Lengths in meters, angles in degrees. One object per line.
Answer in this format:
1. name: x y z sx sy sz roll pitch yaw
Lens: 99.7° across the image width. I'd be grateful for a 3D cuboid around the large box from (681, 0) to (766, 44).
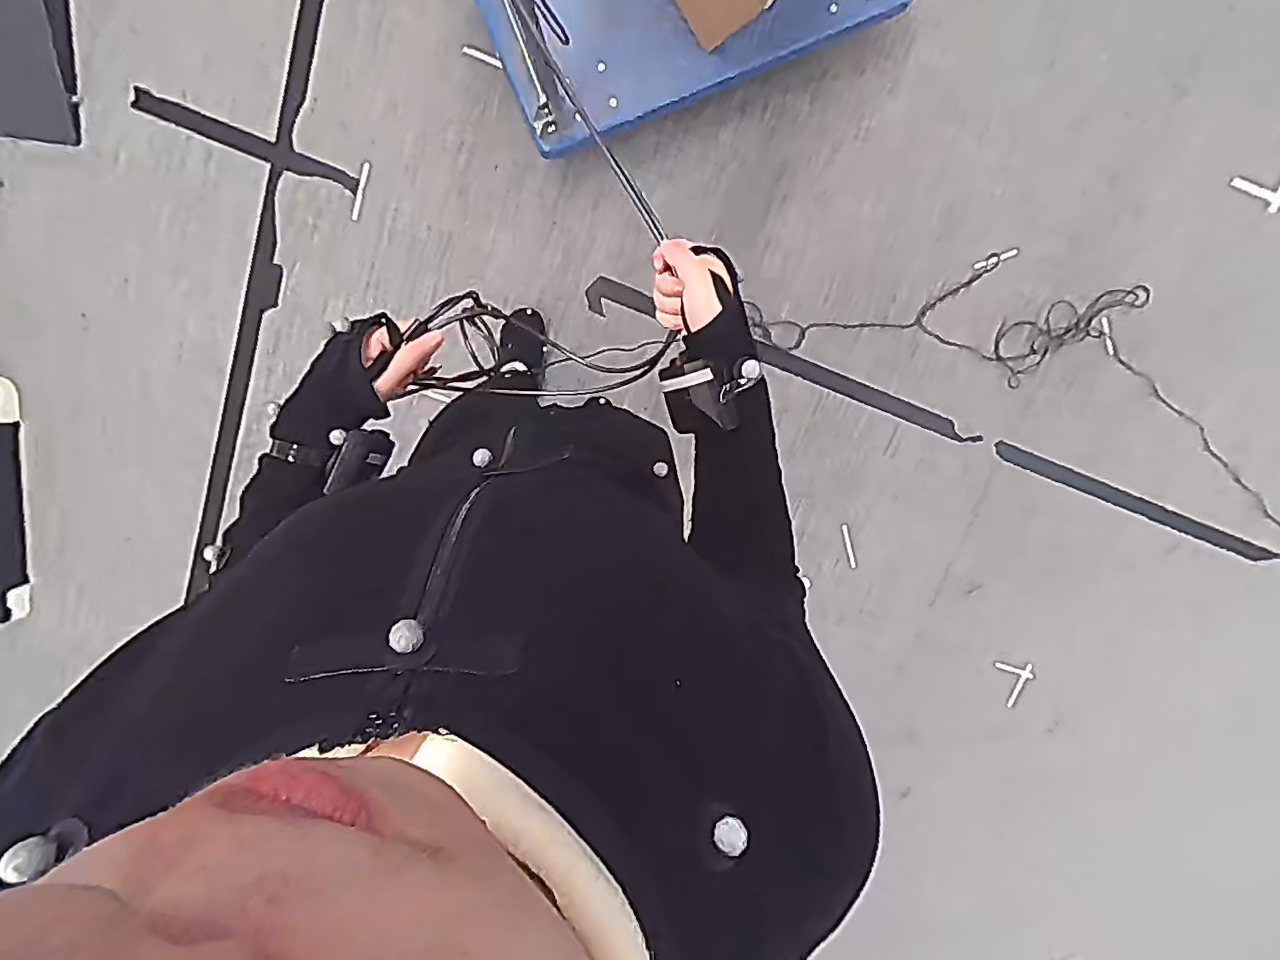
1. large box: 0.155 -1.111 0.929 0.320 0.320 0.408 -36 103 6
